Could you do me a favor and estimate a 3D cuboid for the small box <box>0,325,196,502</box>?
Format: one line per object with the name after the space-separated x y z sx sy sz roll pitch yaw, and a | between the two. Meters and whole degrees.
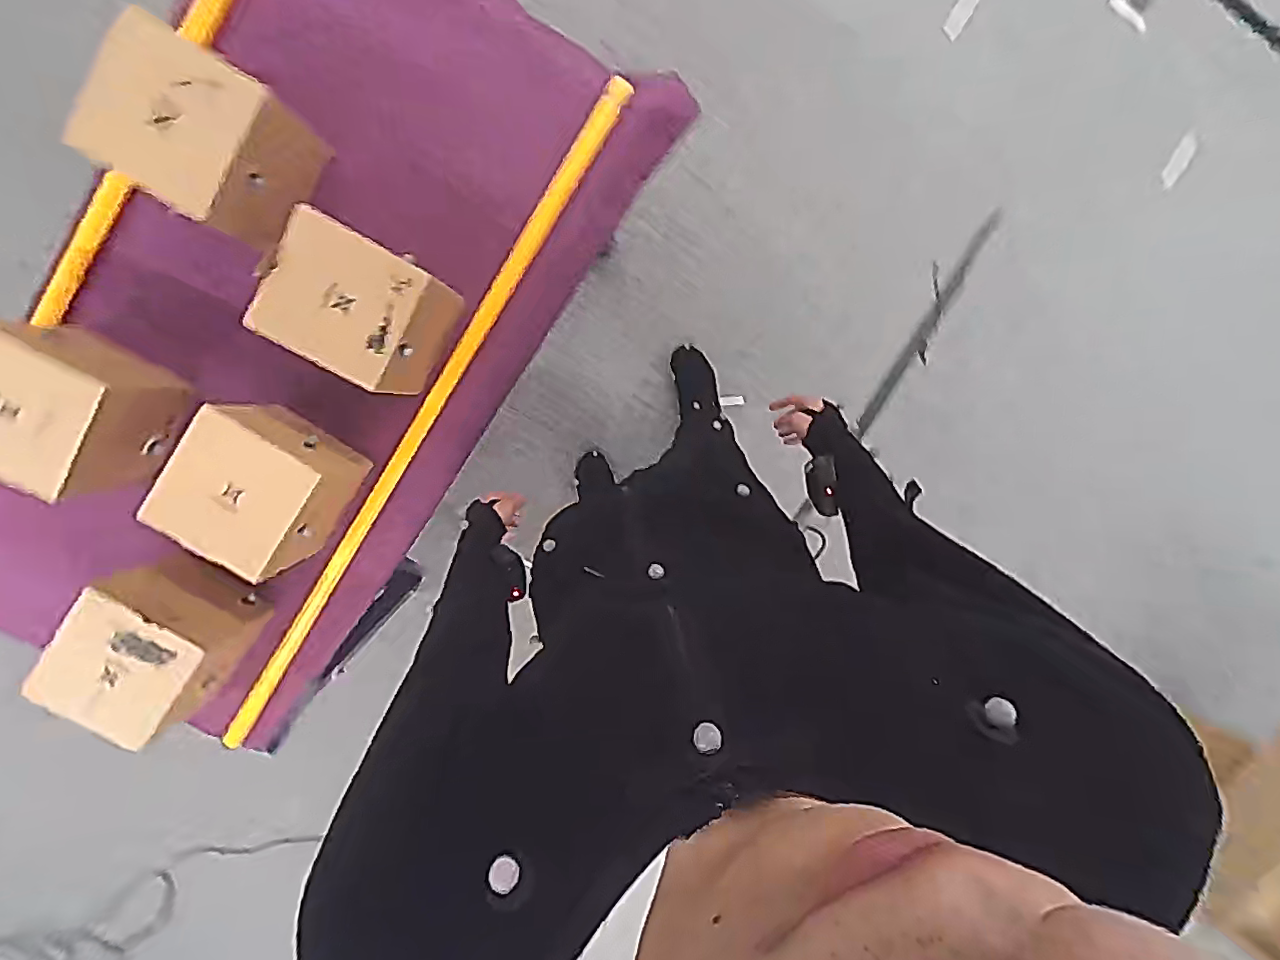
-0.772 -0.091 0.732 0.179 0.176 0.168 28 96 -9 | small box

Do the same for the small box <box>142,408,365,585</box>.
-0.524 0.012 0.767 0.168 0.176 0.179 33 95 -8 | small box

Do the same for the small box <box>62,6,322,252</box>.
-0.555 -0.428 0.699 0.168 0.176 0.179 30 95 -10 | small box

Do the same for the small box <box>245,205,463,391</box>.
-0.375 -0.231 0.742 0.179 0.176 0.168 28 95 -6 | small box

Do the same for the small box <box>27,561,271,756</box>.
-0.686 0.244 0.784 0.168 0.176 0.179 35 94 -8 | small box
